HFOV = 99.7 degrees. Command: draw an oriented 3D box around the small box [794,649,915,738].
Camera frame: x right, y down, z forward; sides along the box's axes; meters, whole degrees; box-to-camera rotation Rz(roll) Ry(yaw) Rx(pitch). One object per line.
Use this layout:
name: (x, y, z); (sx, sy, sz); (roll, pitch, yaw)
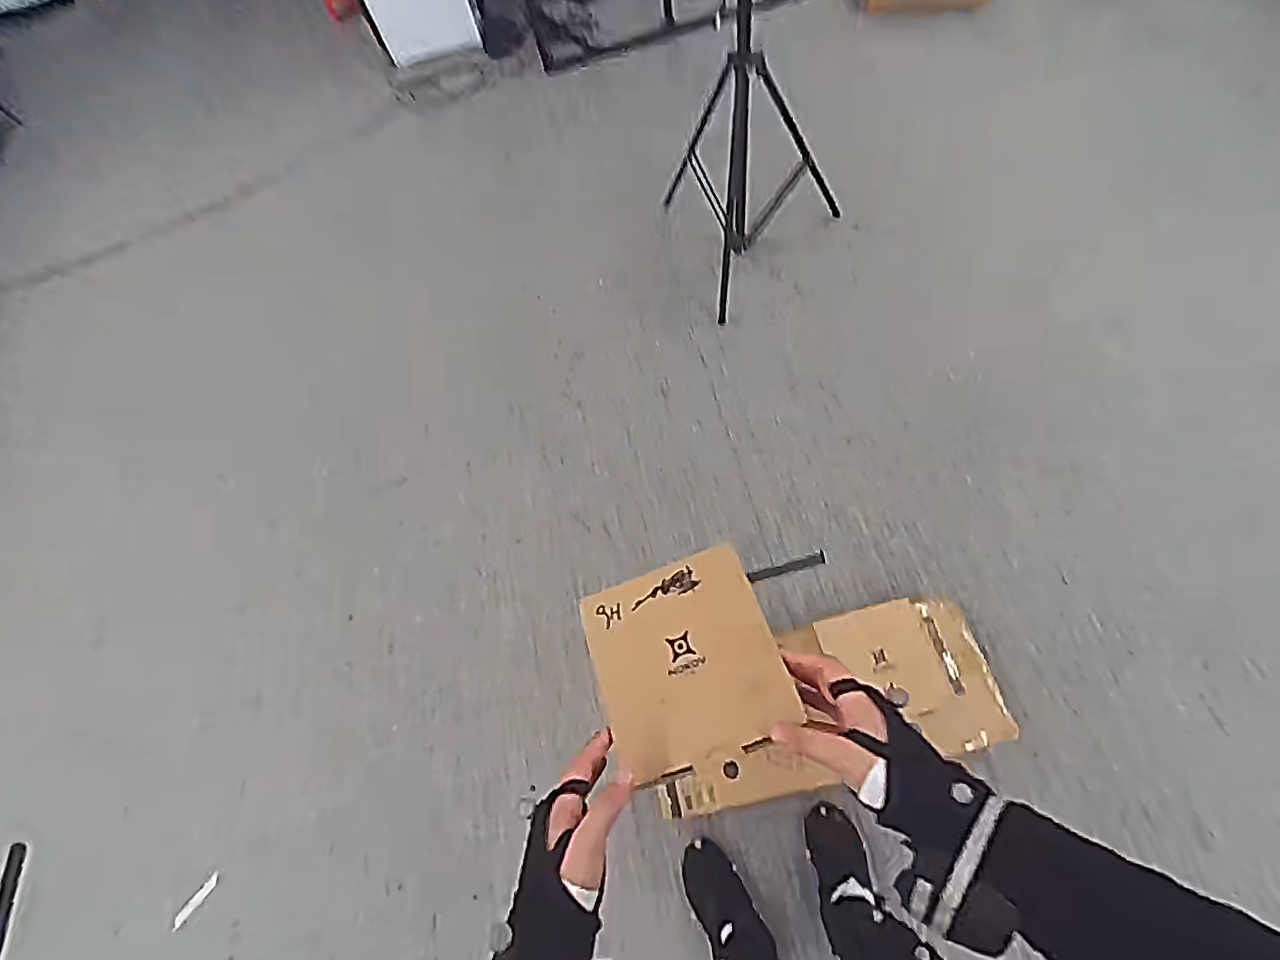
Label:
small box: (0.417, 0.414, 1.088); (0.168, 0.176, 0.179); (-11, 65, 4)

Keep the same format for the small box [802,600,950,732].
small box: (0.395, 0.330, 0.946); (0.168, 0.176, 0.179); (-15, 63, 2)
